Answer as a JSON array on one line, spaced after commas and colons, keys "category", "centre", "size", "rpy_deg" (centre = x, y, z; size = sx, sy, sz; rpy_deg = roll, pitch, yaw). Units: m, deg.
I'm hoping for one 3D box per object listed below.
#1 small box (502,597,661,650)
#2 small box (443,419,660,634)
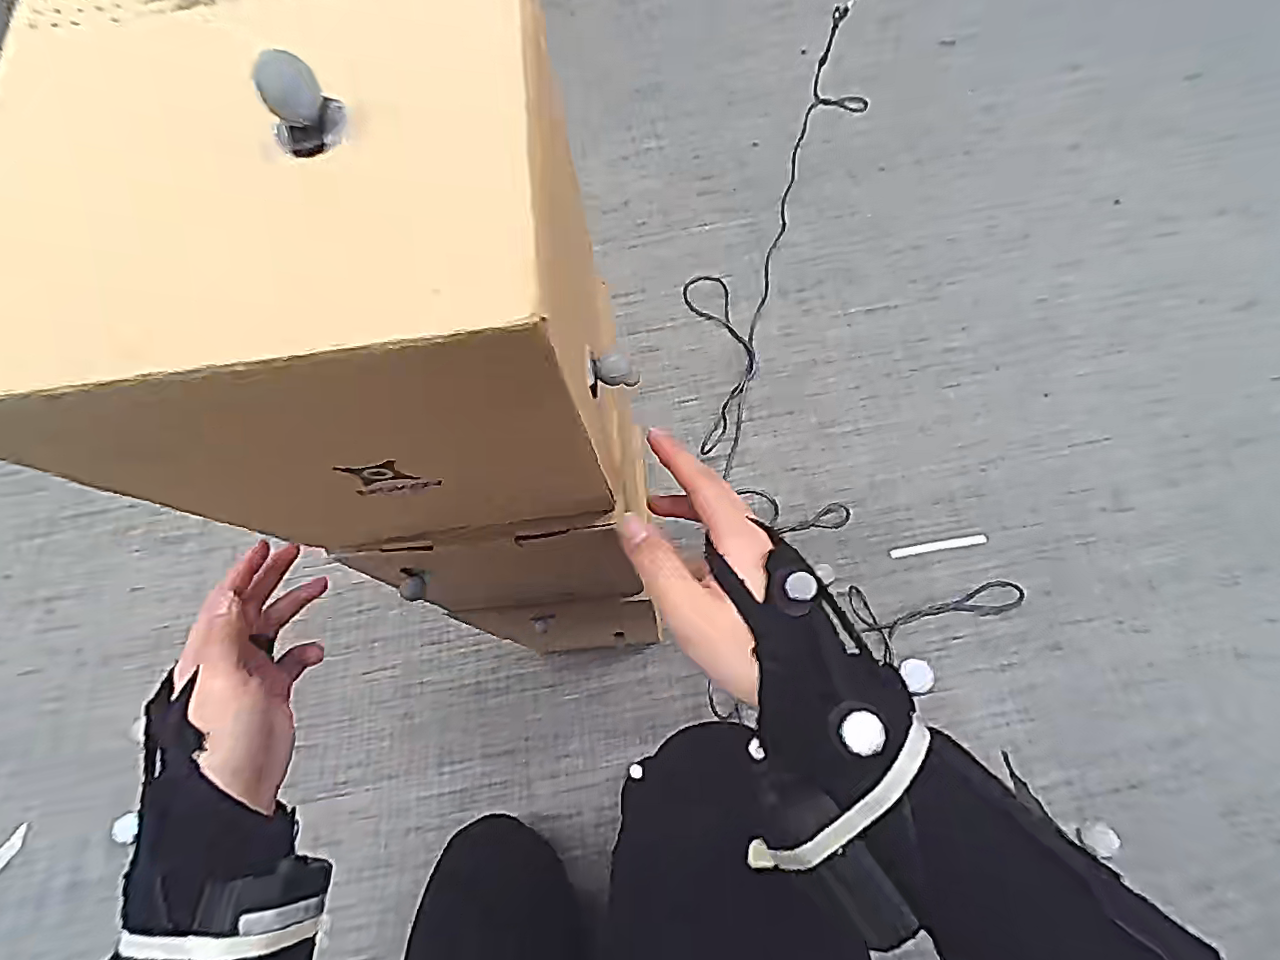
[{"category": "small box", "centre": [-0.066, 0.119, 0.692], "size": [0.179, 0.176, 0.168], "rpy_deg": [-6, 65, 2]}, {"category": "small box", "centre": [-0.073, 0.056, 0.541], "size": [0.179, 0.176, 0.168], "rpy_deg": [-4, 66, 1]}]
